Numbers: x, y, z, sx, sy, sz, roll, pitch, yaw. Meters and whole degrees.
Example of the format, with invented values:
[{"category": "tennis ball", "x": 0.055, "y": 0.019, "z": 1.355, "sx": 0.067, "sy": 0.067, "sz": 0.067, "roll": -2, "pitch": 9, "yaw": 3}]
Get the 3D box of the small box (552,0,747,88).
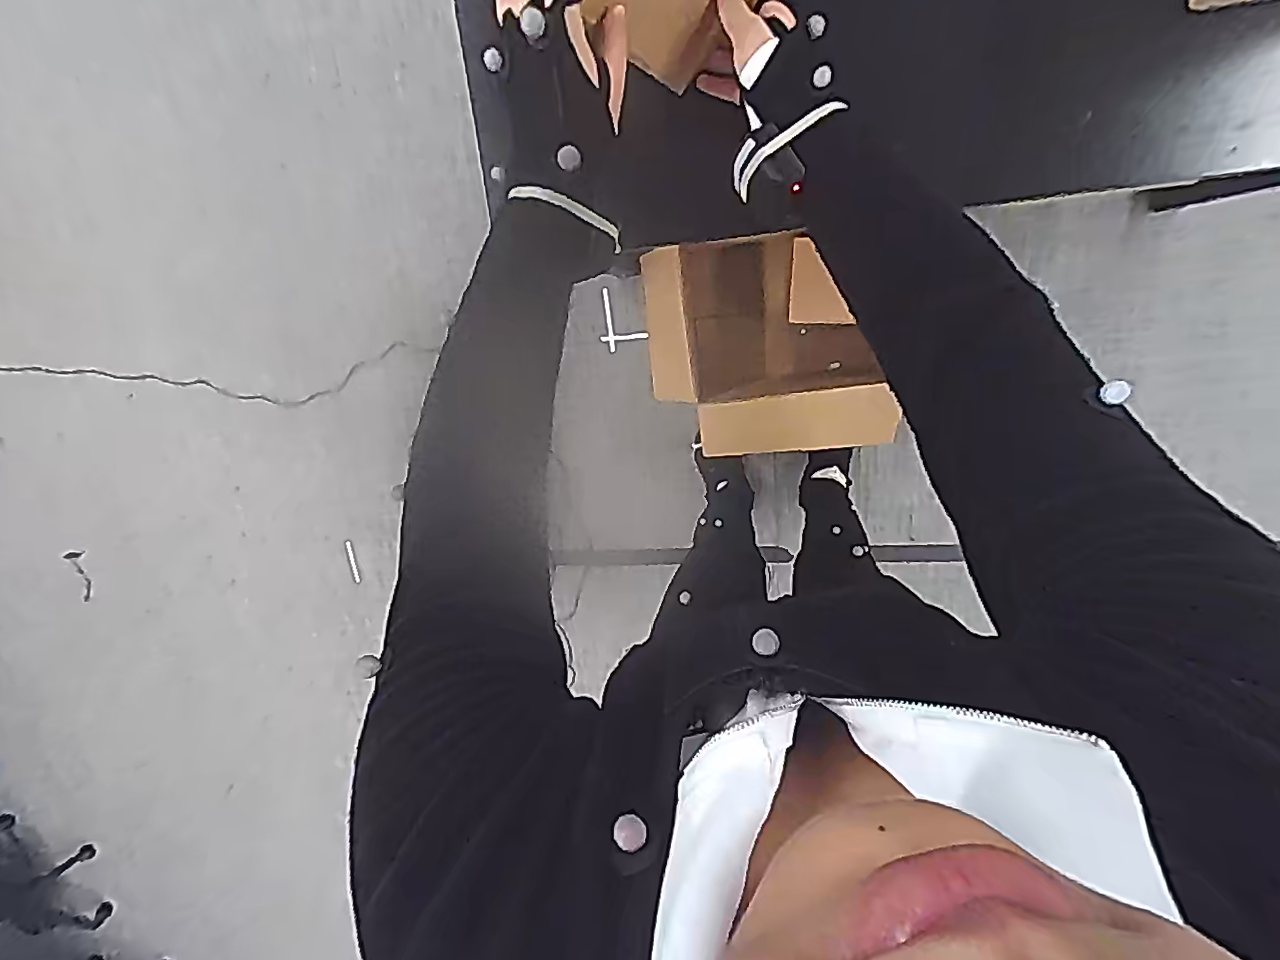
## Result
[{"category": "small box", "x": 0.001, "y": -0.449, "z": 0.397, "sx": 0.179, "sy": 0.176, "sz": 0.168, "roll": -40, "pitch": 82, "yaw": 35}]
